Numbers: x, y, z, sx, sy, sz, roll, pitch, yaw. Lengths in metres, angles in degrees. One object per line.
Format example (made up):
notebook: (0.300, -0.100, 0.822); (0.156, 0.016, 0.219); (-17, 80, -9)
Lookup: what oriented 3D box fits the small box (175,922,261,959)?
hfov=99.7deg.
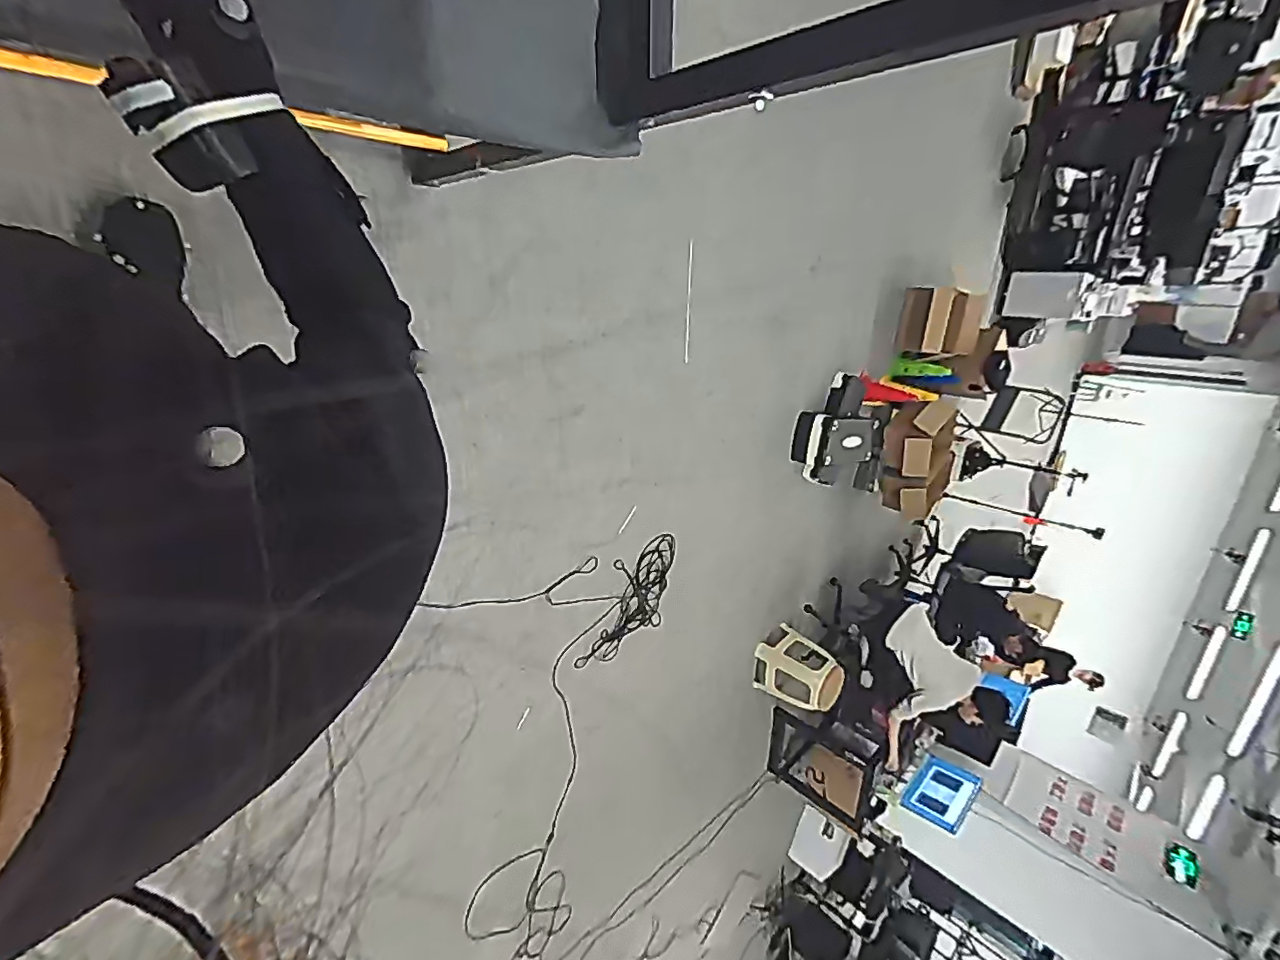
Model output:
small box: (-1.136, 1.352, 1.459); (0.168, 0.176, 0.179); (-7, 111, -44)
